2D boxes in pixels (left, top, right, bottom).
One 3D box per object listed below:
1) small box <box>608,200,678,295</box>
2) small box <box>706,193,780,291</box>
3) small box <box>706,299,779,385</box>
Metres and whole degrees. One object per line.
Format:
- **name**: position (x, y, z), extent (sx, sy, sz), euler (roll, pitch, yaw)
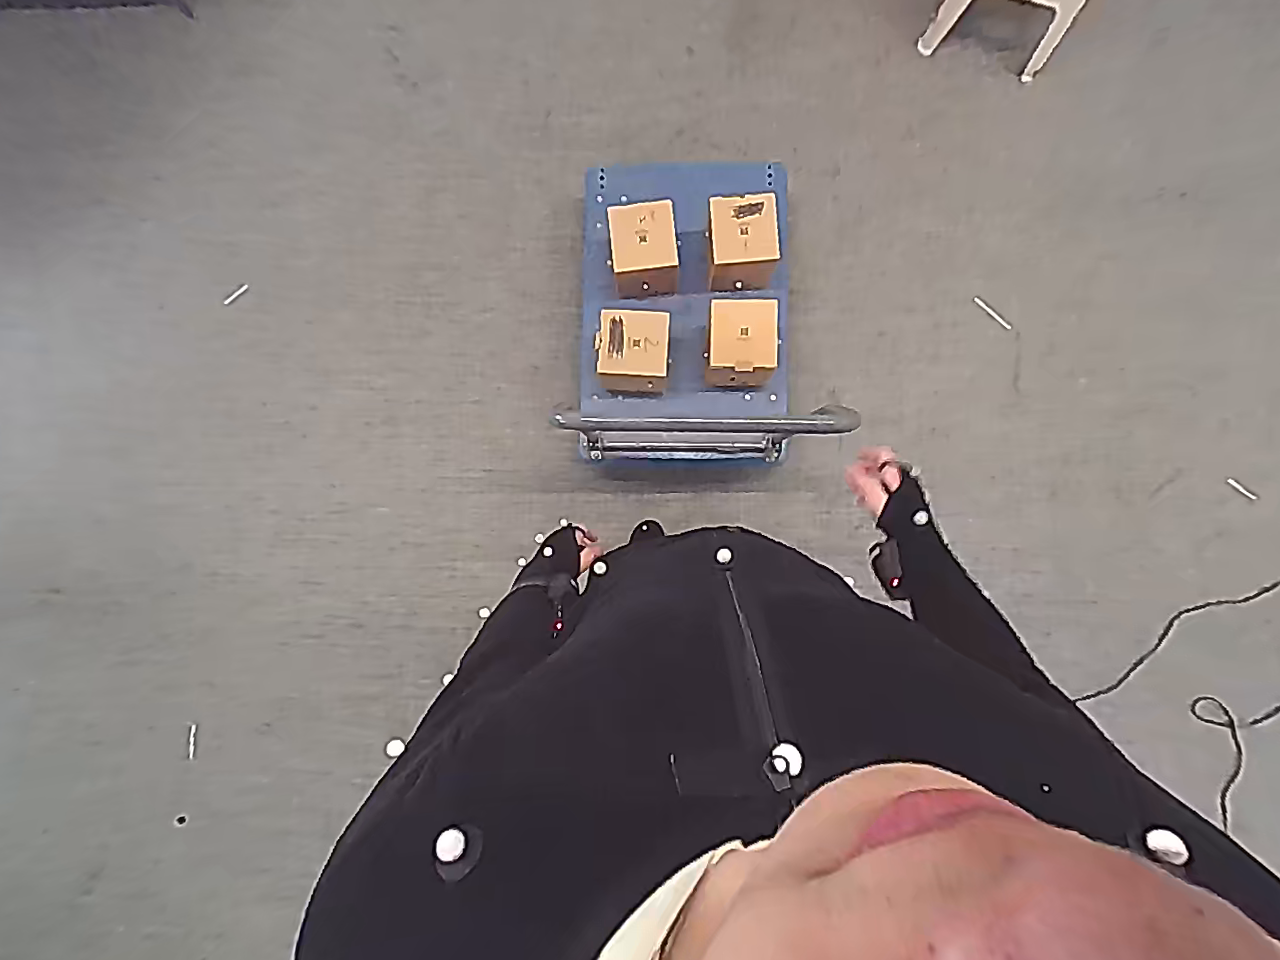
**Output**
- **small box**: position (0.011, -0.608, 1.439), extent (0.168, 0.176, 0.179), euler (-6, 86, 1)
- **small box**: position (0.266, -0.623, 1.430), extent (0.168, 0.176, 0.179), euler (-4, 86, 3)
- **small box**: position (0.262, -0.355, 1.411), extent (0.168, 0.176, 0.179), euler (1, 86, 2)
